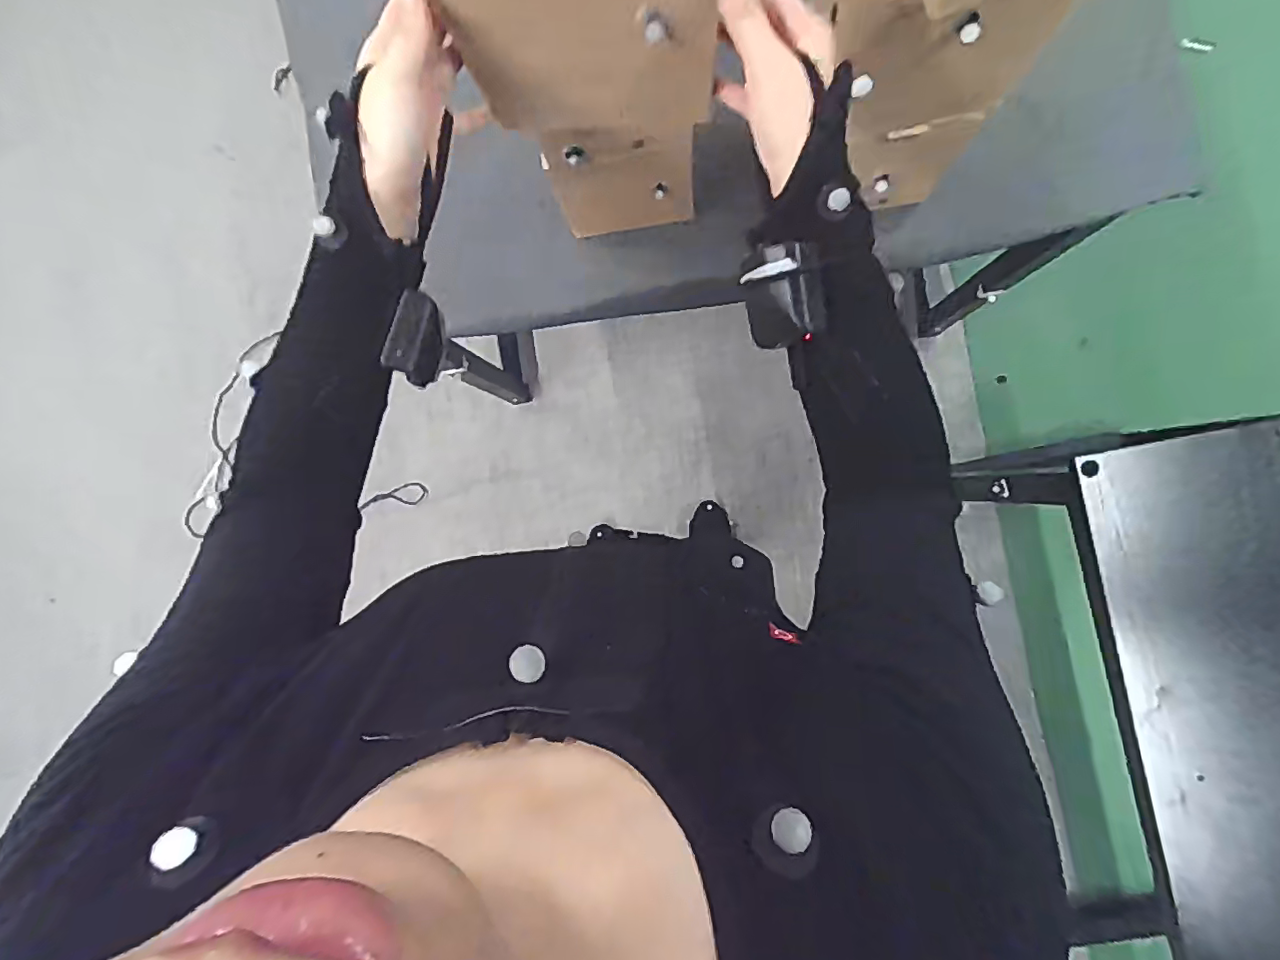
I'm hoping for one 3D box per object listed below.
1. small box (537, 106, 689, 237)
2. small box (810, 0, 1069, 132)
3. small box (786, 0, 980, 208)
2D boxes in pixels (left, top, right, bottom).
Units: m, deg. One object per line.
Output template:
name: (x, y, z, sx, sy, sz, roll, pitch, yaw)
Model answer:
small box: (-0.031, -0.443, 0.700, 0.179, 0.176, 0.168, -8, 86, 7)
small box: (0.272, -0.467, 0.500, 0.179, 0.176, 0.168, -9, 87, 7)
small box: (0.281, -0.459, 0.663, 0.168, 0.176, 0.179, -7, 88, 7)
